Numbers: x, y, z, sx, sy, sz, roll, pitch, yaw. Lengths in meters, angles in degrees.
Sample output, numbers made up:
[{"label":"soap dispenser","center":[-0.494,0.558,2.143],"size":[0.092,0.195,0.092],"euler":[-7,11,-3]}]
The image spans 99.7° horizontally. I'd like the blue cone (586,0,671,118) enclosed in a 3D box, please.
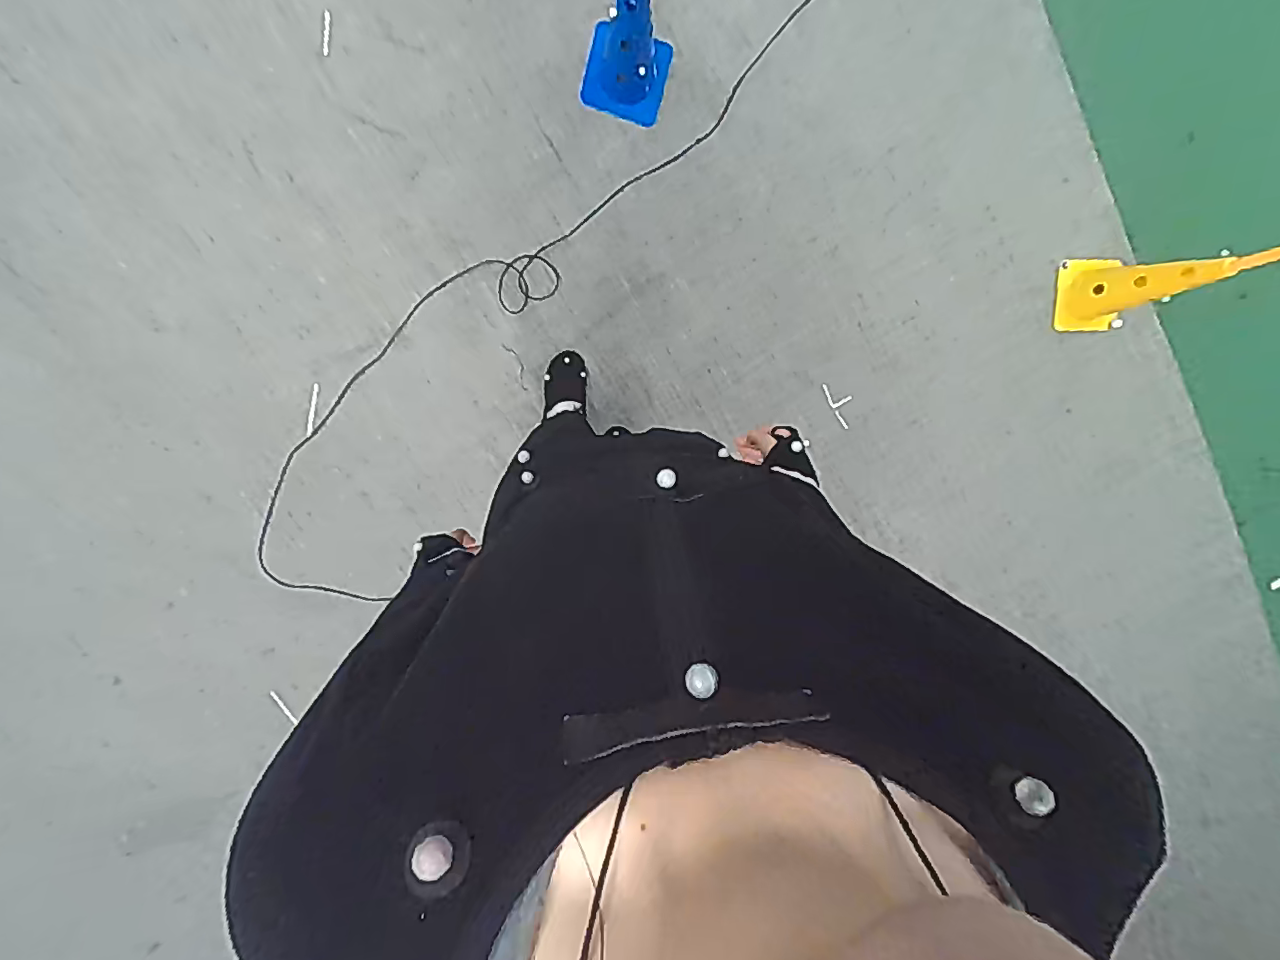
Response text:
[{"label":"blue cone","center":[-0.018,-0.980,1.170],"size":[0.193,0.380,0.192],"euler":[13,98,-6]}]
